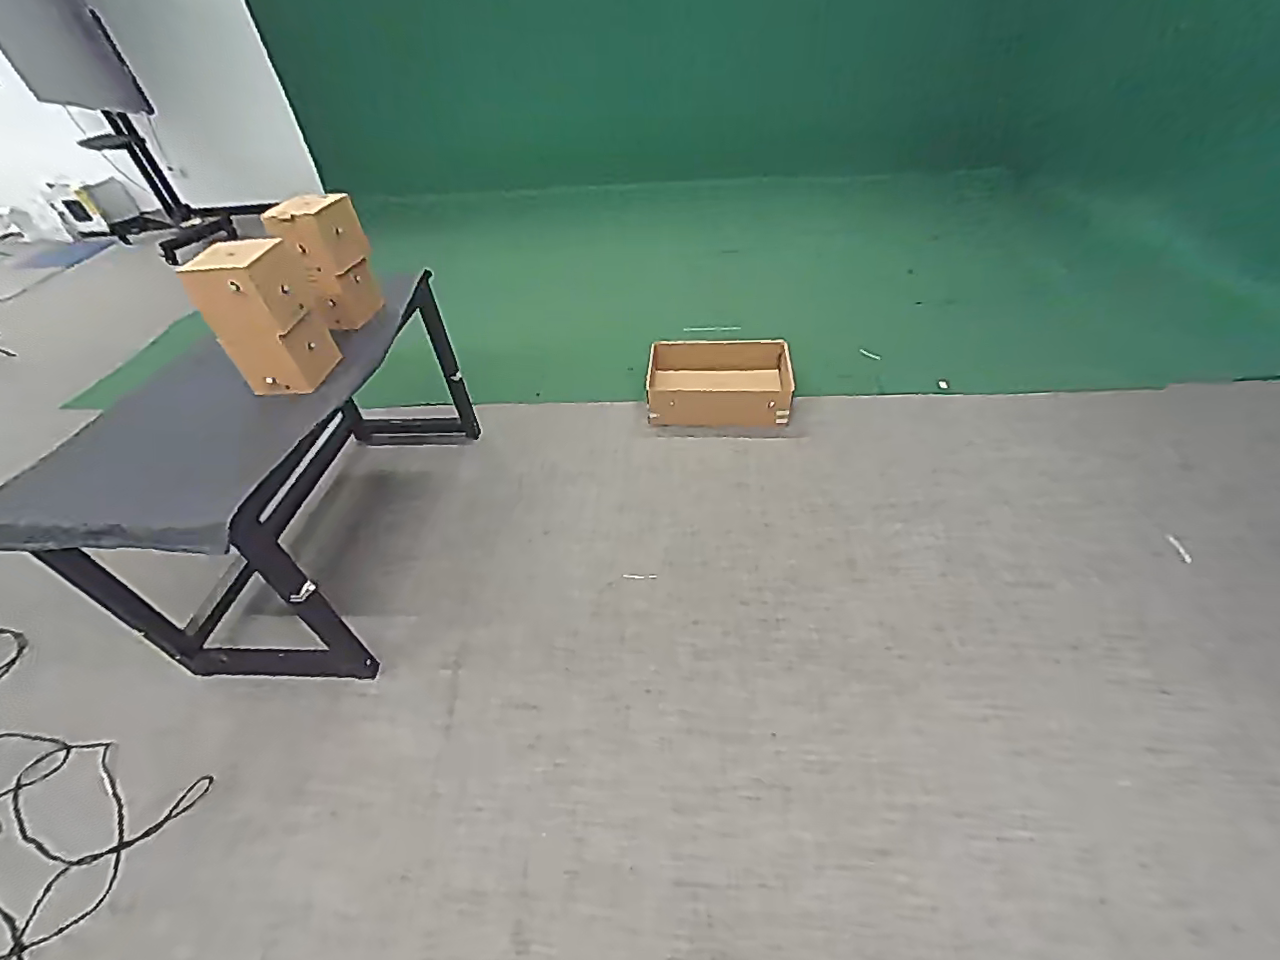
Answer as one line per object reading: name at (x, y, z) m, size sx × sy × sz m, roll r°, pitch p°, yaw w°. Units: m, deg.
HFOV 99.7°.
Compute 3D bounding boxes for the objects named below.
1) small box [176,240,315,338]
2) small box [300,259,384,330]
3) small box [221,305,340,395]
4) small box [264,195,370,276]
small box at (-0.929, -0.456, 1.297) m, size 0.179 × 0.176 × 0.168 m, roll -2°, pitch 44°, yaw 6°
small box at (-0.922, -0.574, 1.660) m, size 0.168 × 0.176 × 0.179 m, roll 2°, pitch 43°, yaw 8°
small box at (-0.924, -0.340, 1.414) m, size 0.168 × 0.176 × 0.179 m, roll -1°, pitch 45°, yaw 7°
small box at (-0.915, -0.700, 1.554) m, size 0.168 × 0.176 × 0.179 m, roll 4°, pitch 45°, yaw 10°
